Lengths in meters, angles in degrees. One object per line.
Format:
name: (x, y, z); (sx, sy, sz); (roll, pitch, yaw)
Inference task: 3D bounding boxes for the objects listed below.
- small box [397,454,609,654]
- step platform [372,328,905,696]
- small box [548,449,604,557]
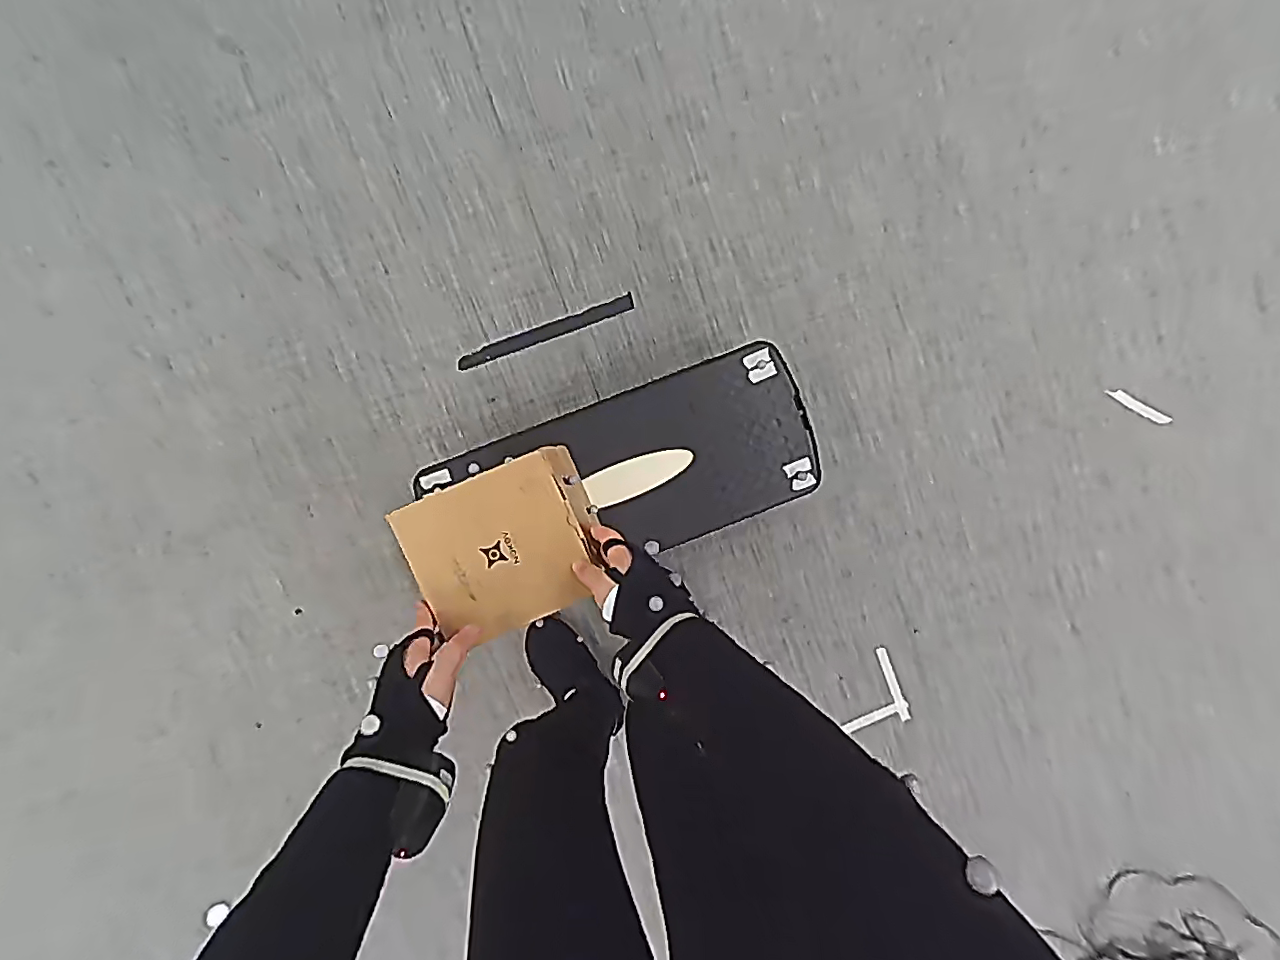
small box: (-0.150, 0.073, 0.651); (0.179, 0.176, 0.168); (-24, 94, -2)
step platform: (0.002, 0.038, 0.788); (0.684, 0.204, 0.286); (-22, 95, -3)
small box: (-0.161, 0.061, 0.814); (0.179, 0.176, 0.168); (-23, 95, -2)
